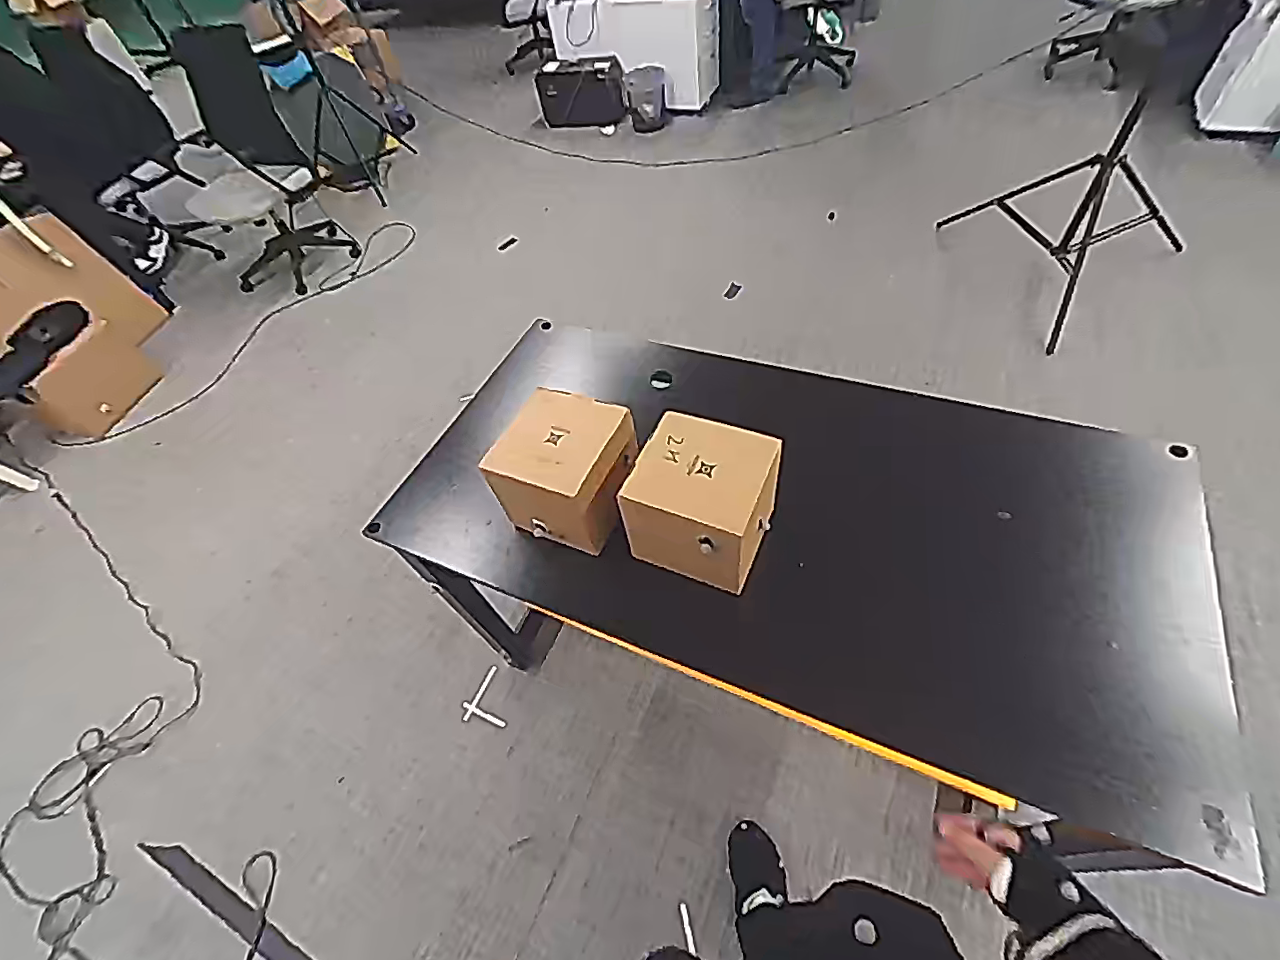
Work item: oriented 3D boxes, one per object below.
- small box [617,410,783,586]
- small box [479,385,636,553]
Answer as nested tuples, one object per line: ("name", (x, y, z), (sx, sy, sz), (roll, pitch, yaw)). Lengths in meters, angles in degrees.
("small box", (0.090, 0.031, 0.777), (0.179, 0.176, 0.168), (17, 57, 20))
("small box", (-0.114, -0.016, 0.846), (0.168, 0.176, 0.179), (15, 58, 21))
